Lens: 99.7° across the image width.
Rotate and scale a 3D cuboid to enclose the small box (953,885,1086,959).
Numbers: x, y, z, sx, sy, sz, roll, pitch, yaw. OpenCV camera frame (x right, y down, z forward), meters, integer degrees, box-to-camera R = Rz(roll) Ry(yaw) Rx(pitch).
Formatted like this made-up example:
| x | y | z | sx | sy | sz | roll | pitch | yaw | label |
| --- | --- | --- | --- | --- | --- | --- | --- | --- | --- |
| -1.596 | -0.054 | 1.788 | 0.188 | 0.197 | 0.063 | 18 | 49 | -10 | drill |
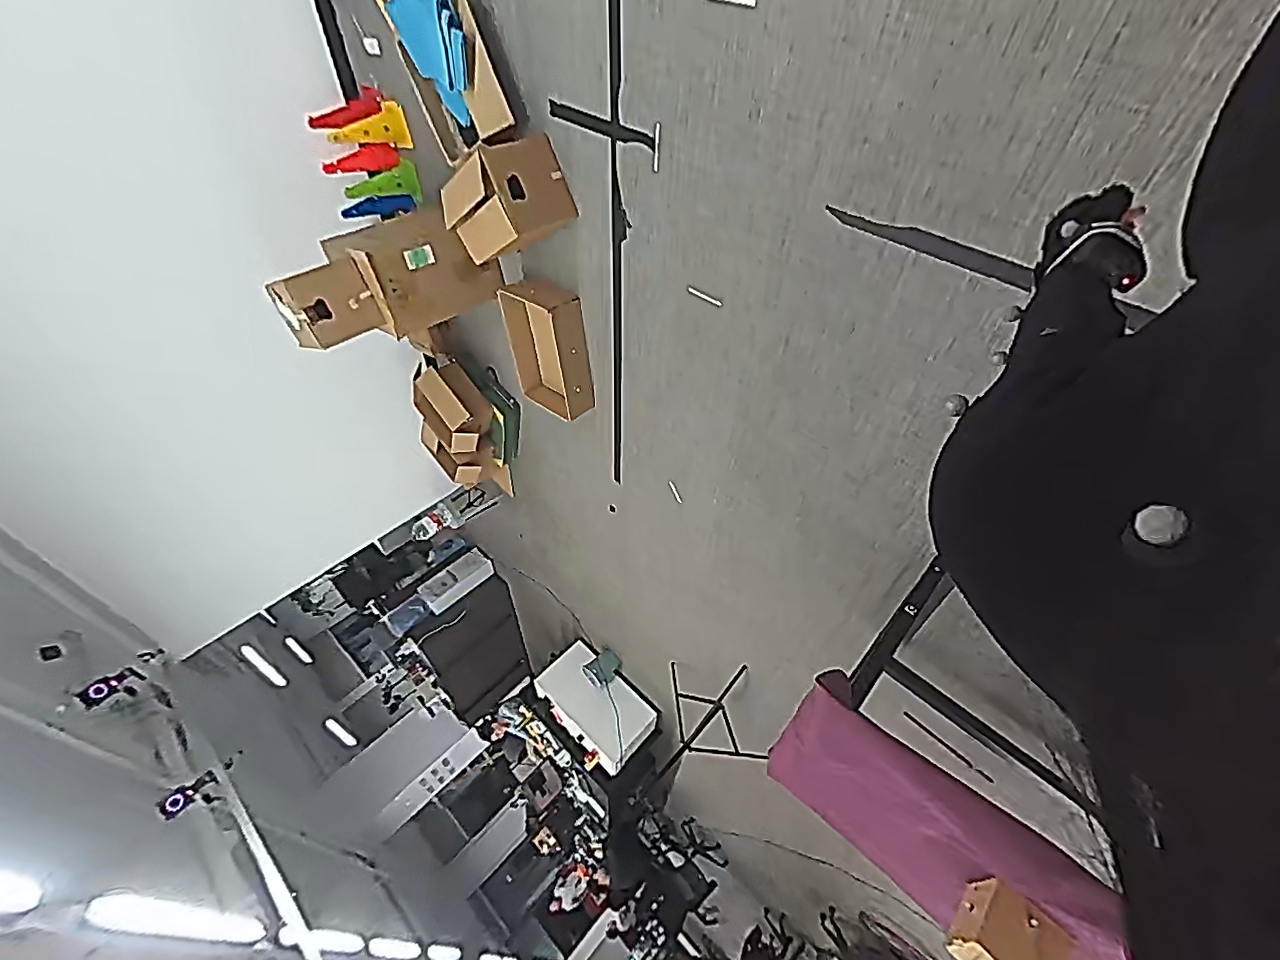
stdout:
| x | y | z | sx | sy | sz | roll | pitch | yaw | label |
| --- | --- | --- | --- | --- | --- | --- | --- | --- | --- |
| 0.886 | 1.092 | 1.267 | 0.179 | 0.176 | 0.168 | 36 | 146 | 27 | small box |
